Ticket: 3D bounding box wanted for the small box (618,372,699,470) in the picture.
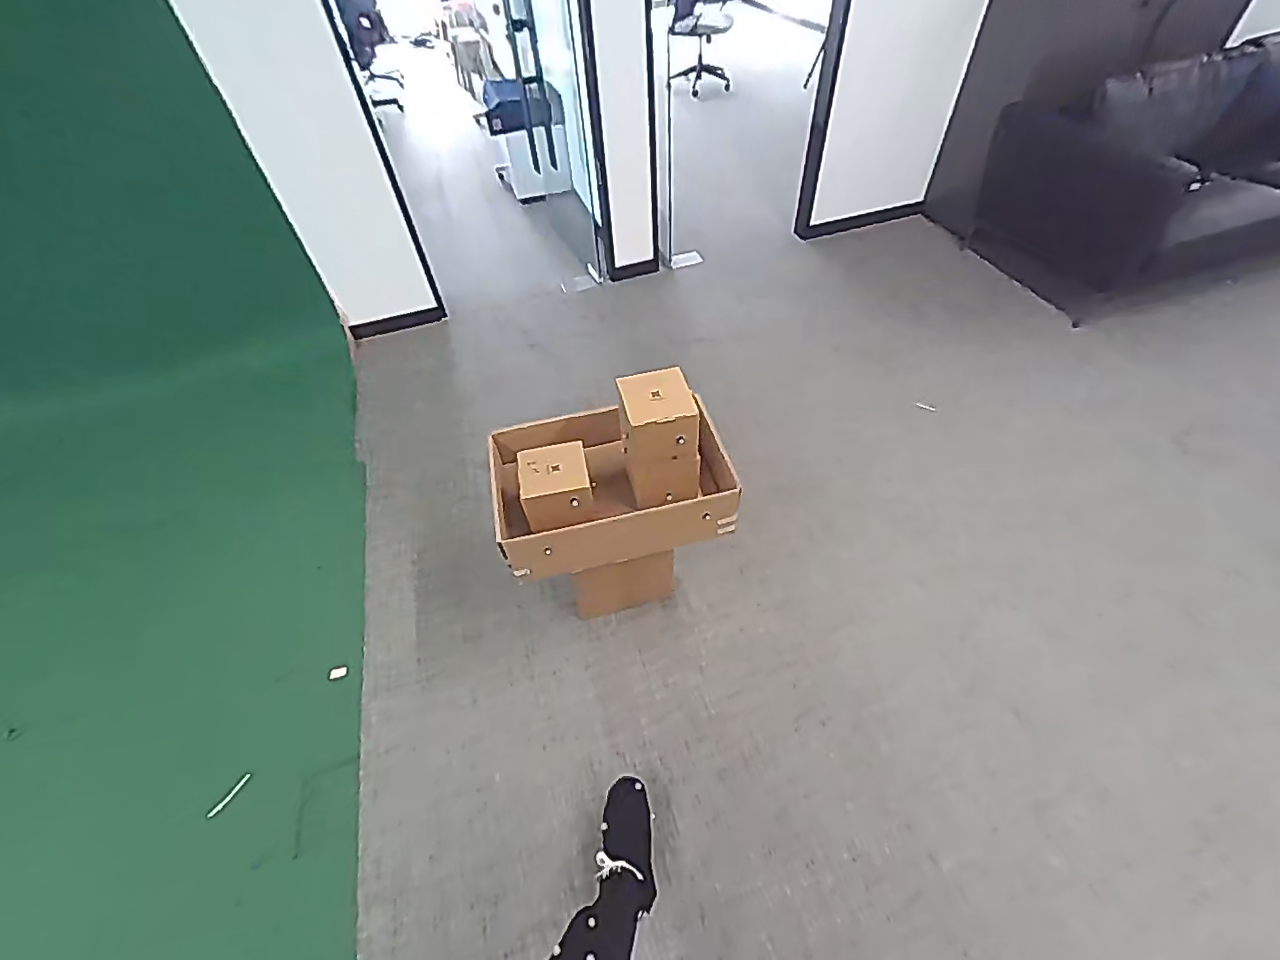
[{"bbox_3d":[0.046,-0.141,1.353,0.168,0.176,0.179,-11,50,-7],"label":"small box"}]
